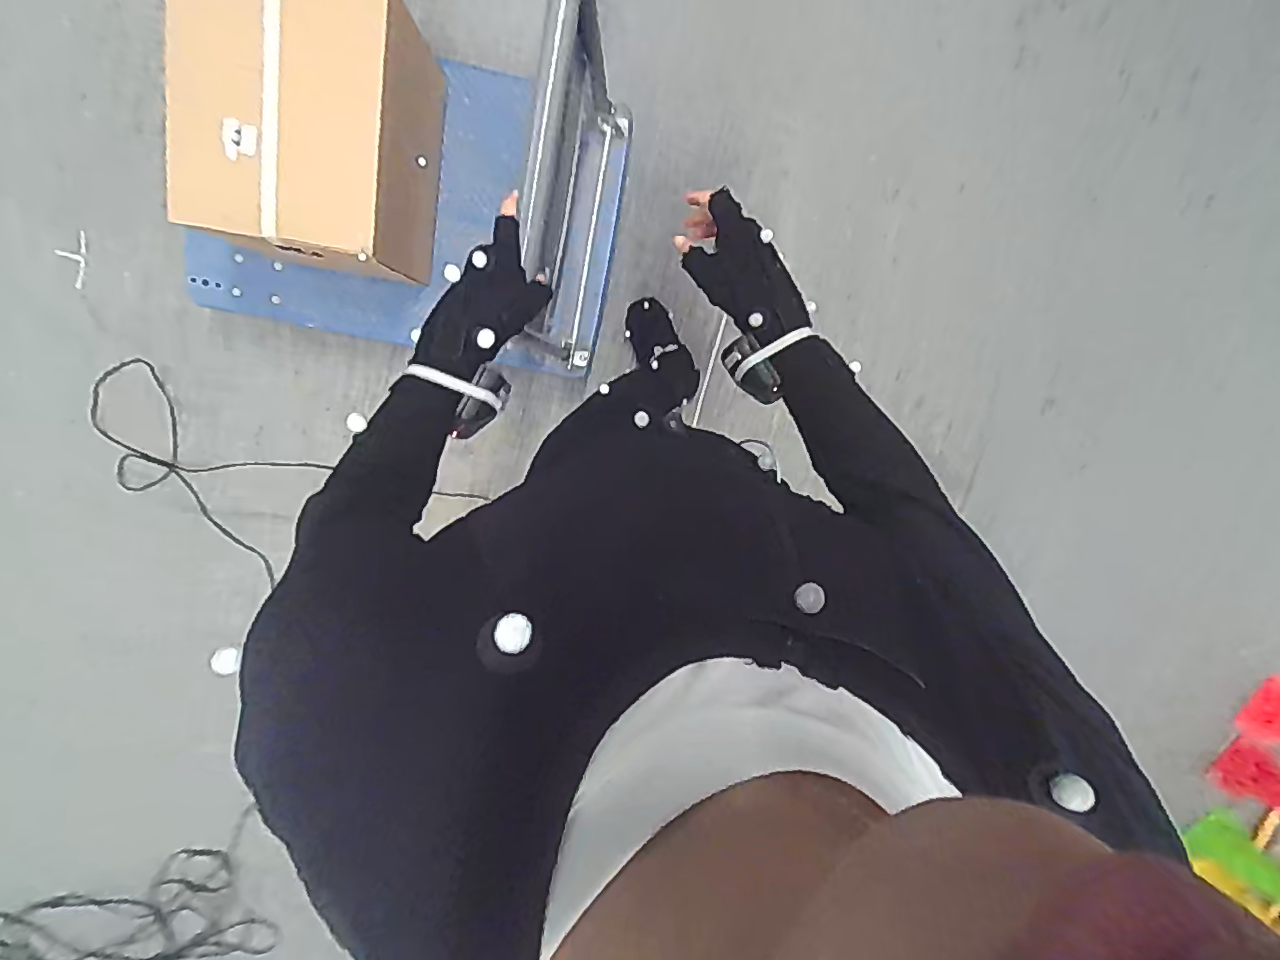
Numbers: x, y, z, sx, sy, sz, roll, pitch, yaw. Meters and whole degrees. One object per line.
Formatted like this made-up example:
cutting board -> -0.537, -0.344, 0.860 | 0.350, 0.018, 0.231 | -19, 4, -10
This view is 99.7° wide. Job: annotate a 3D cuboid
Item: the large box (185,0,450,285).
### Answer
large box -> -0.548, -0.604, 0.979 | 0.320, 0.320, 0.408 | 8, 101, -5
